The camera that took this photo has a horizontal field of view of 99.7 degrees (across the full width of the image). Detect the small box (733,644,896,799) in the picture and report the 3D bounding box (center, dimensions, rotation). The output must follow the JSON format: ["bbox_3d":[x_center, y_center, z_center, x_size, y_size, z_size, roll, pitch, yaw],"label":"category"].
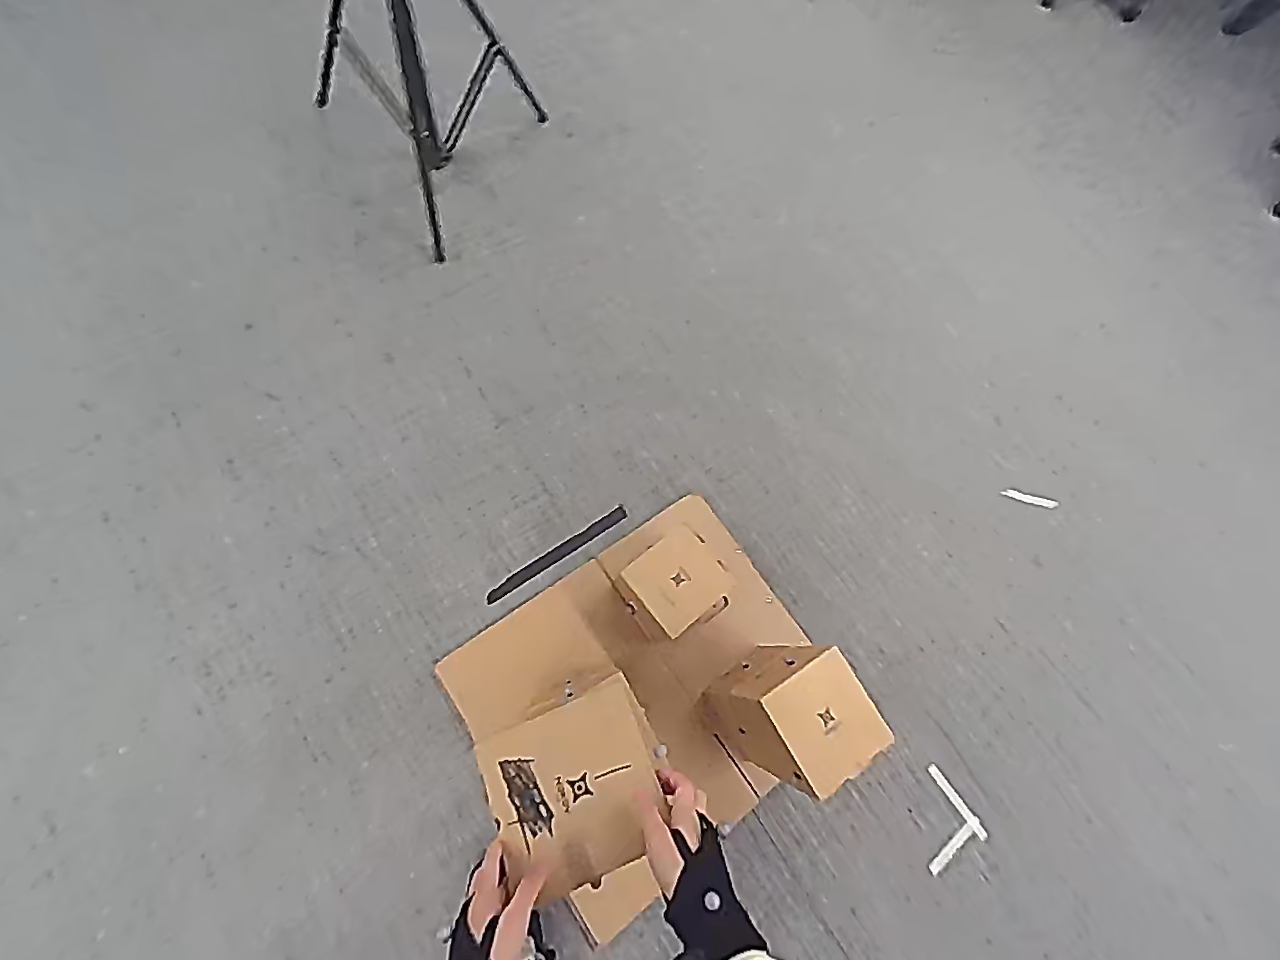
[{"bbox_3d":[0.289,0.406,0.938,0.168,0.176,0.179,-29,80,-16],"label":"small box"}]

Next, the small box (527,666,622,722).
[{"bbox_3d":[-0.097,0.470,1.028,0.179,0.176,0.168,-24,78,-14],"label":"small box"}]

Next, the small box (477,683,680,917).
[{"bbox_3d":[-0.063,0.356,0.629,0.179,0.176,0.168,-21,66,-8],"label":"small box"}]

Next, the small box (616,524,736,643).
[{"bbox_3d":[0.066,0.222,1.138,0.179,0.176,0.168,-37,80,-19],"label":"small box"}]
